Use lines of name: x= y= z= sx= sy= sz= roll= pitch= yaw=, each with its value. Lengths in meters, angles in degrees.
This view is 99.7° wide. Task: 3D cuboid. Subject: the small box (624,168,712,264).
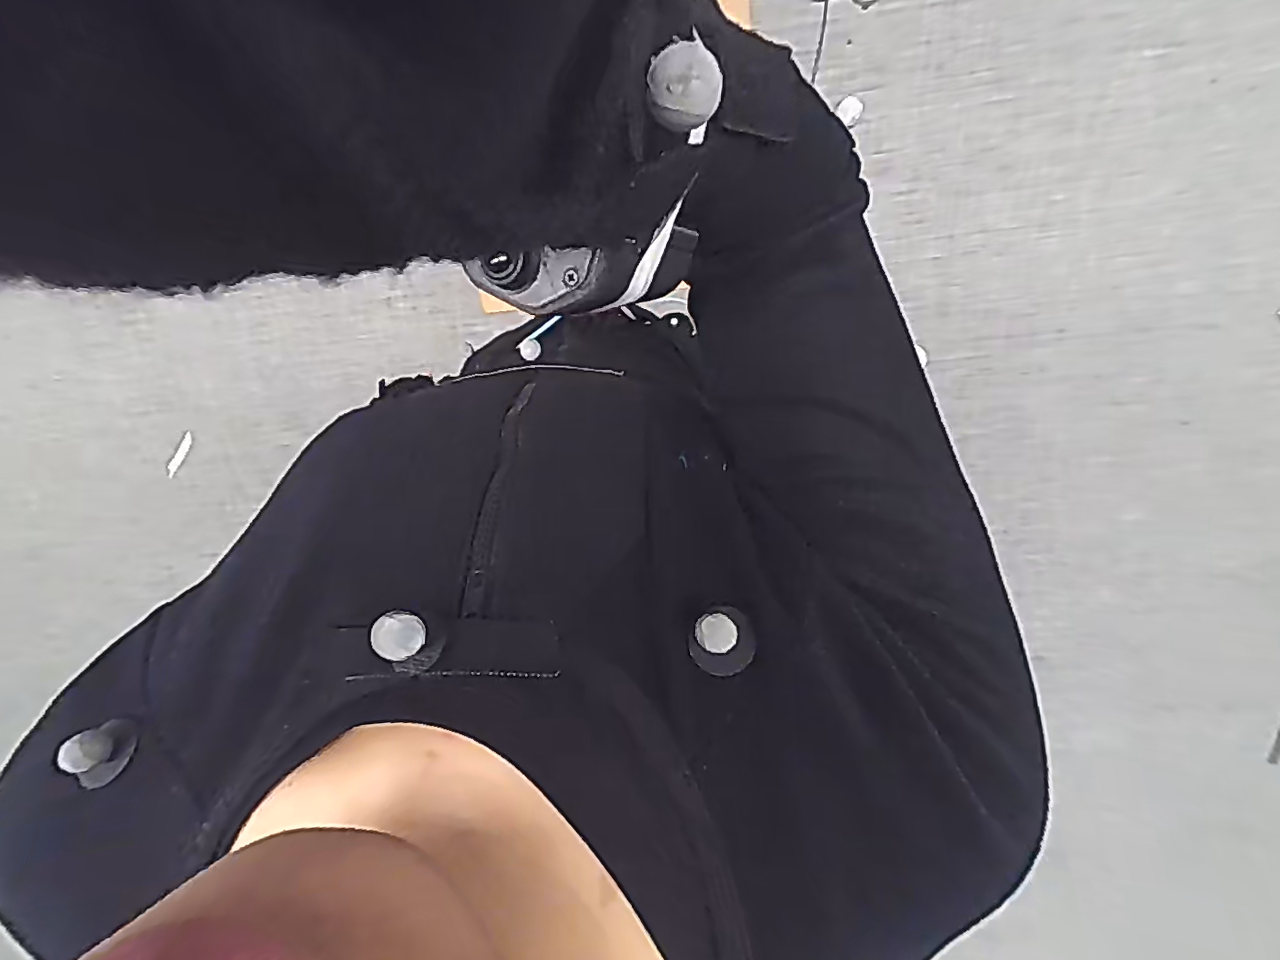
small box: x=0.066 y=-0.583 z=1.212 sx=0.179 sy=0.176 sz=0.168 roll=-4 pitch=108 yaw=7
